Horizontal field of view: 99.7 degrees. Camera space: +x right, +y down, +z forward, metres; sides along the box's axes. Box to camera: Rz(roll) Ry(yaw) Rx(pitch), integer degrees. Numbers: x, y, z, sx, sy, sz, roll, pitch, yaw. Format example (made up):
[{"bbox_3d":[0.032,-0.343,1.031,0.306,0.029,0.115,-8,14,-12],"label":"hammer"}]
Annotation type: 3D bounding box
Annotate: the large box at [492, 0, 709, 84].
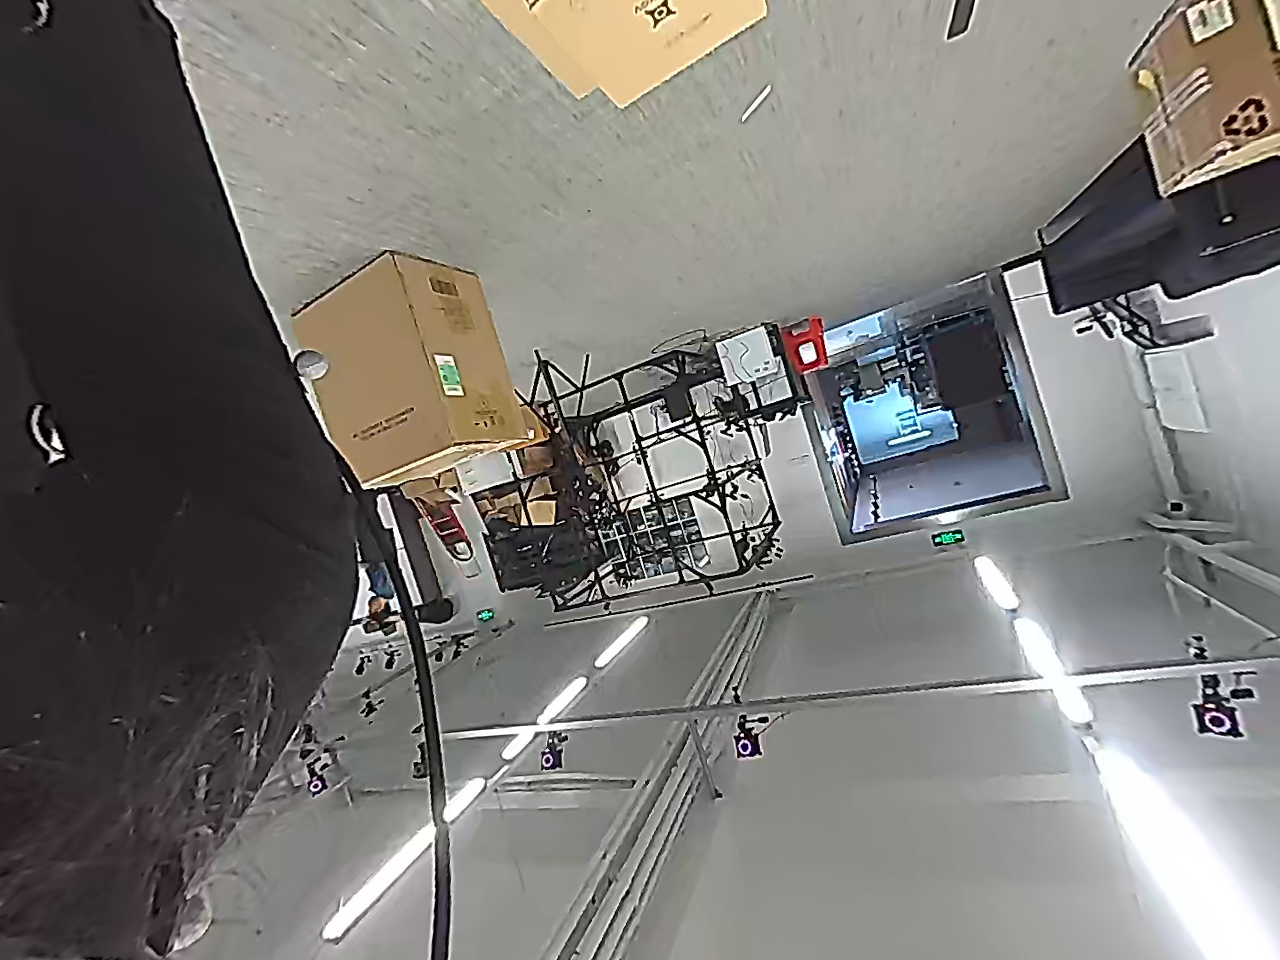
[{"bbox_3d":[-0.083,-0.719,0.533,0.320,0.320,0.408,-16,-177,24],"label":"large box"}]
